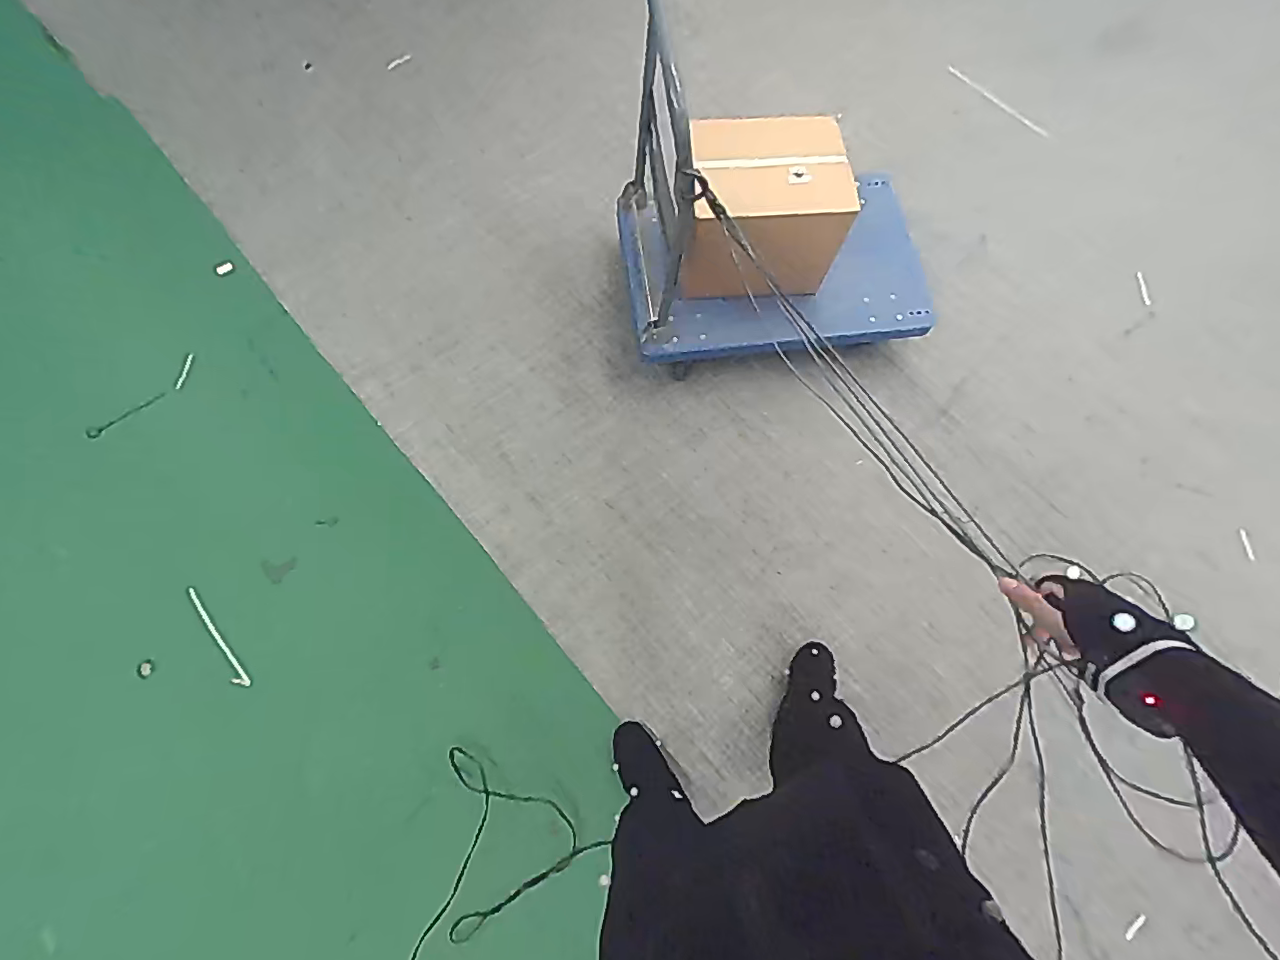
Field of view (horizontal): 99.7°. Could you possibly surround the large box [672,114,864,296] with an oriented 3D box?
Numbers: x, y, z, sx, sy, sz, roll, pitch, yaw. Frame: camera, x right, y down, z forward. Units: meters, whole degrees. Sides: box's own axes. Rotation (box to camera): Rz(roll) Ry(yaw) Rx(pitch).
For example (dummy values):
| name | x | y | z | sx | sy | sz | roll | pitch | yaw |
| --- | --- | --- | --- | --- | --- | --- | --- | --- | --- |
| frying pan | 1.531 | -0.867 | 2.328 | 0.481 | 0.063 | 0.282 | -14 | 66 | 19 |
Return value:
| name | x | y | z | sx | sy | sz | roll | pitch | yaw |
| --- | --- | --- | --- | --- | --- | --- | --- | --- | --- |
| large box | 0.314 | -0.726 | 1.454 | 0.408 | 0.320 | 0.320 | -4 | 73 | -4 |
